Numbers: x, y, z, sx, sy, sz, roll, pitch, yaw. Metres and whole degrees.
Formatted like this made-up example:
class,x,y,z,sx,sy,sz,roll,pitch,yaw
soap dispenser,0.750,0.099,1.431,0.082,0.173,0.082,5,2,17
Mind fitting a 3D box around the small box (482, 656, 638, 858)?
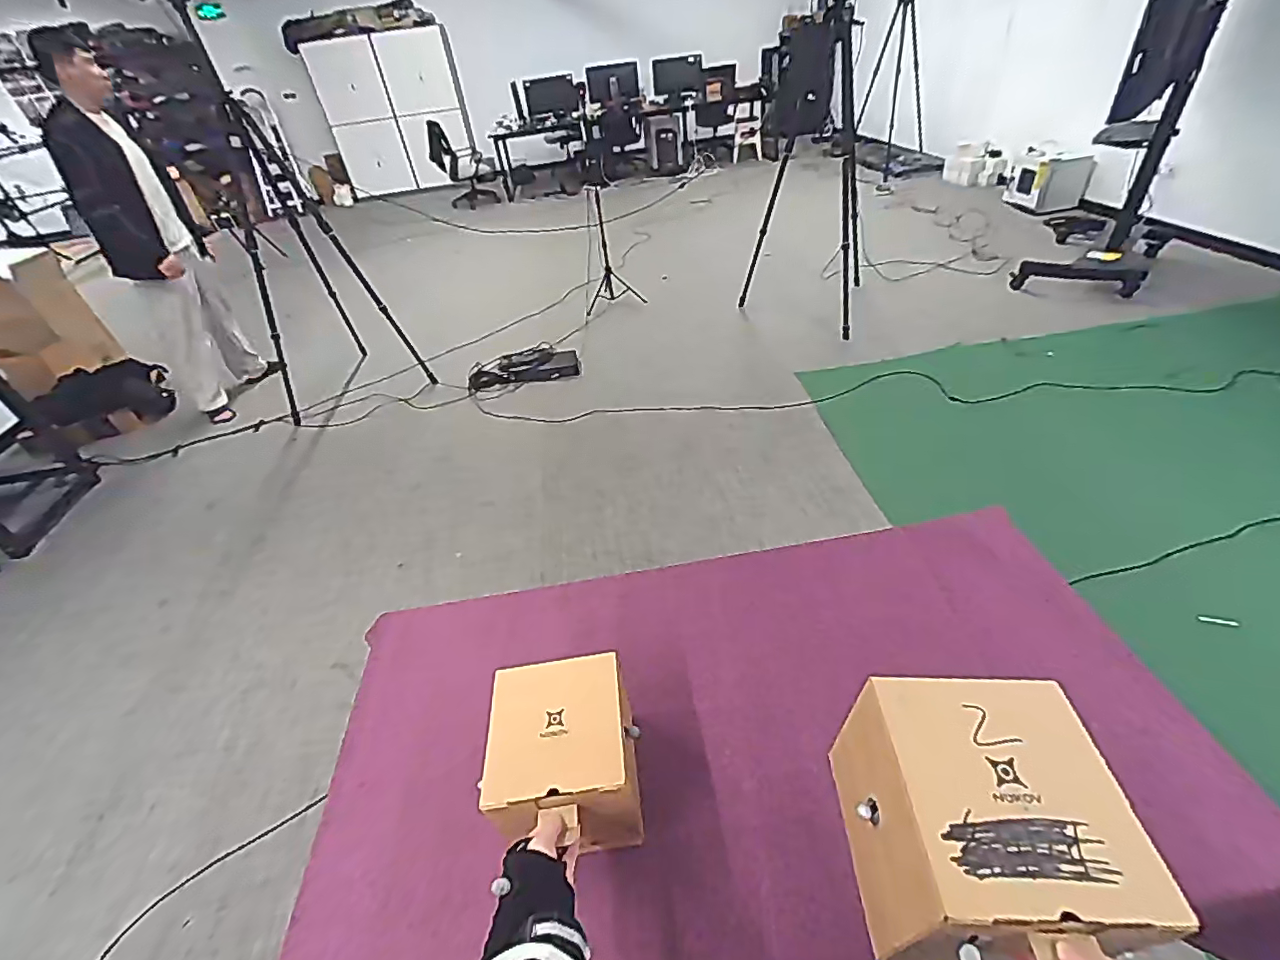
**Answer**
class,x,y,z,sx,sy,sz,roll,pitch,yaw
small box,-0.098,0.368,0.724,0.168,0.176,0.179,-9,38,-1
